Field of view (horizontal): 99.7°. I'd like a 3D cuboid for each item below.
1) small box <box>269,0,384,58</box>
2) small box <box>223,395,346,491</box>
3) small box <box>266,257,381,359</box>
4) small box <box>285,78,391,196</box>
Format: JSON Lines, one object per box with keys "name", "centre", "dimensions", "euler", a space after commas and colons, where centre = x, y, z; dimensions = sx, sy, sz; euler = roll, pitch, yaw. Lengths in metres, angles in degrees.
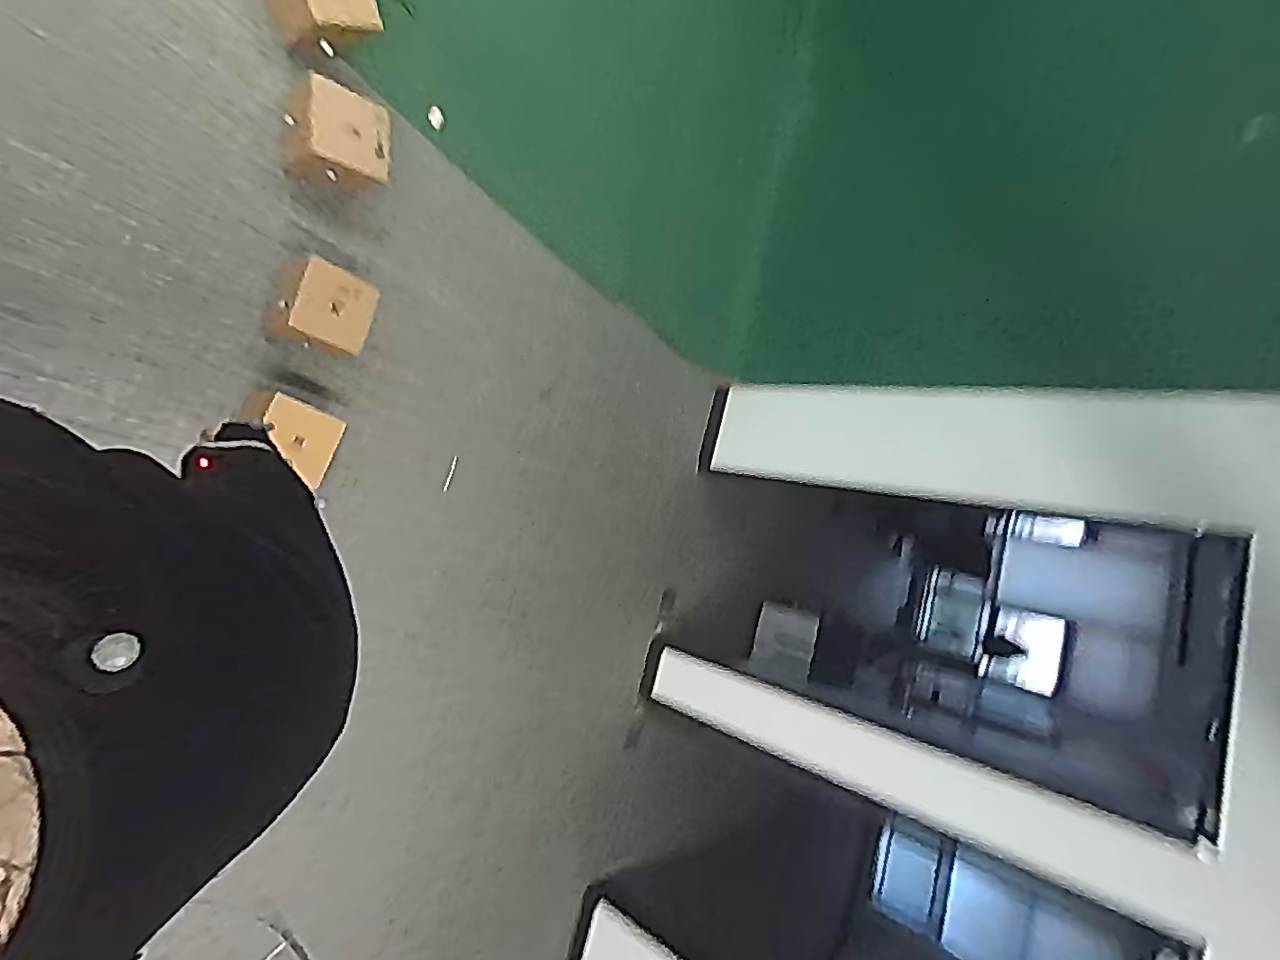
{"name": "small box", "centre": [-0.727, -1.095, 1.224], "dimensions": [0.168, 0.176, 0.179], "euler": [-39, 127, -42]}
{"name": "small box", "centre": [-0.846, -0.091, 1.284], "dimensions": [0.168, 0.176, 0.179], "euler": [33, 72, -50]}
{"name": "small box", "centre": [-0.771, -0.408, 1.310], "dimensions": [0.168, 0.176, 0.179], "euler": [24, 79, -53]}
{"name": "small box", "centre": [-0.723, -0.803, 1.291], "dimensions": [0.179, 0.176, 0.168], "euler": [-2, 99, -52]}
